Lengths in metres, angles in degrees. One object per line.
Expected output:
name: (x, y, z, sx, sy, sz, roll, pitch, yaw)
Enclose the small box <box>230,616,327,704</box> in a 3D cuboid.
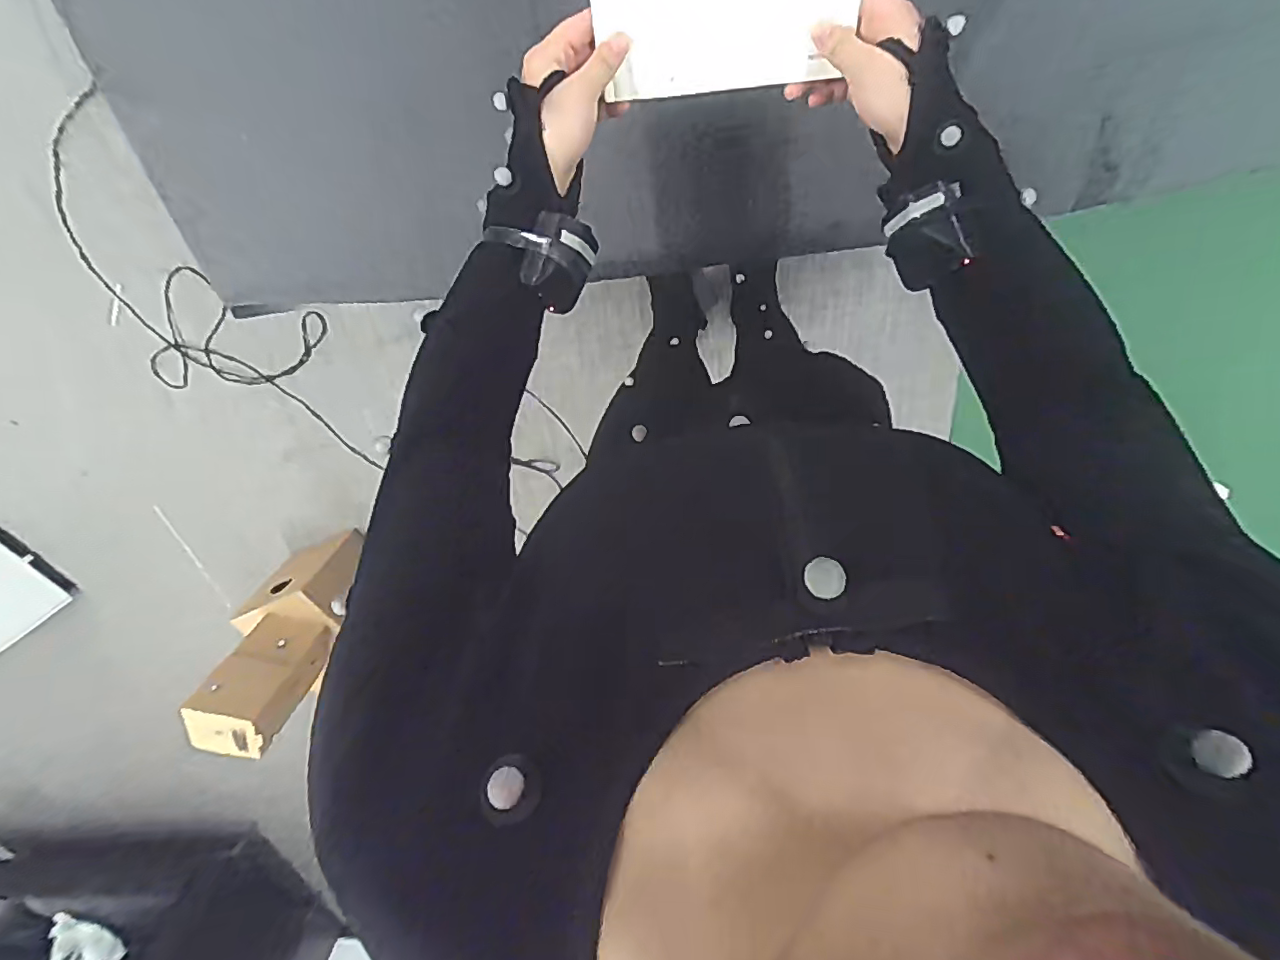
small box: (-1.034, 0.517, 1.568, 0.179, 0.176, 0.168, 12, 121, -5)
